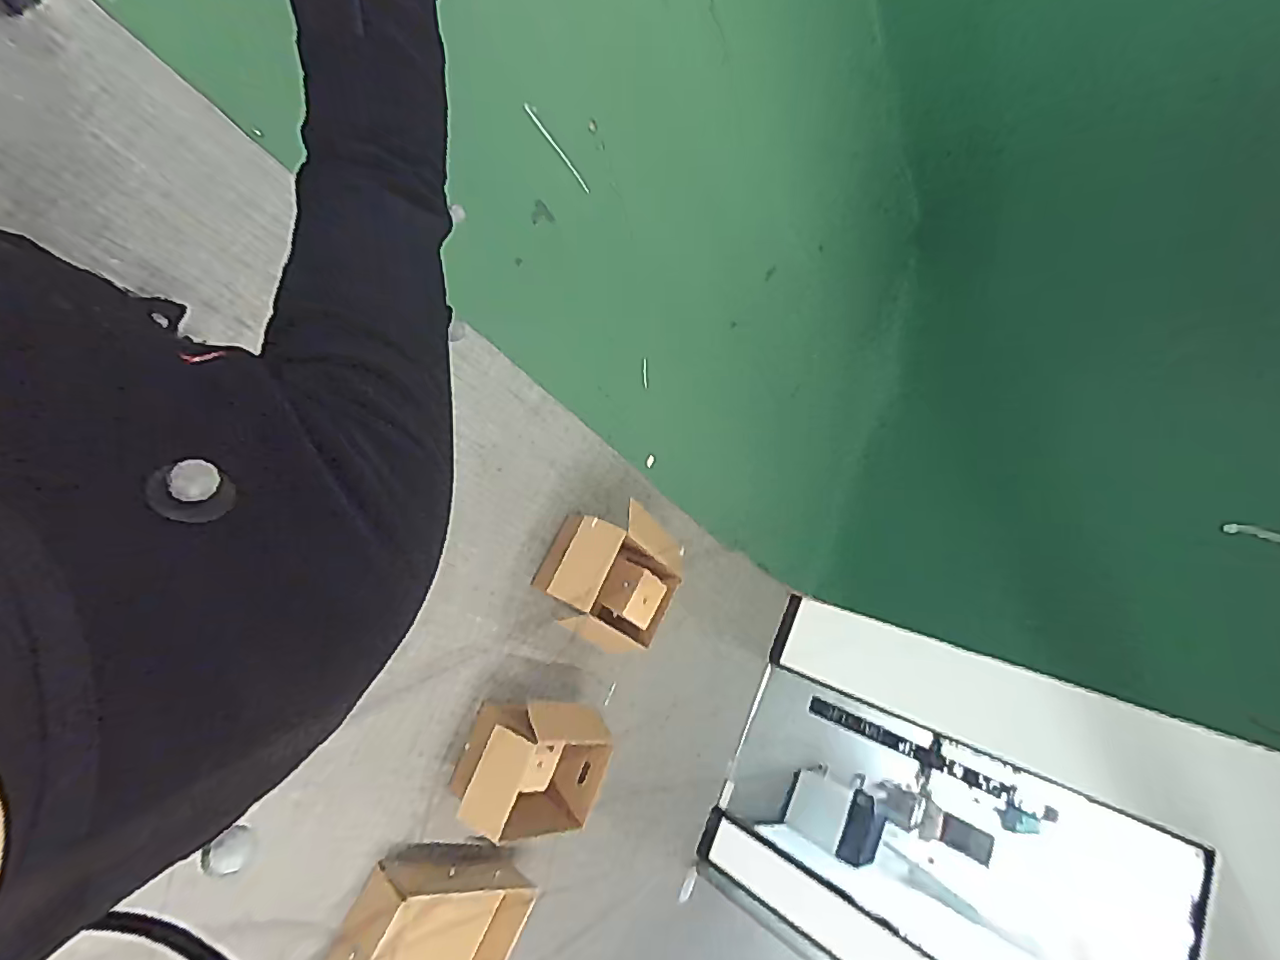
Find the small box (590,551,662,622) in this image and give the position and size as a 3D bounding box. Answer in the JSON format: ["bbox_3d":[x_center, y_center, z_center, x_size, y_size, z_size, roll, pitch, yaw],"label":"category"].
[{"bbox_3d":[-0.057,0.381,1.955,0.168,0.176,0.179,46,66,-45],"label":"small box"}]
